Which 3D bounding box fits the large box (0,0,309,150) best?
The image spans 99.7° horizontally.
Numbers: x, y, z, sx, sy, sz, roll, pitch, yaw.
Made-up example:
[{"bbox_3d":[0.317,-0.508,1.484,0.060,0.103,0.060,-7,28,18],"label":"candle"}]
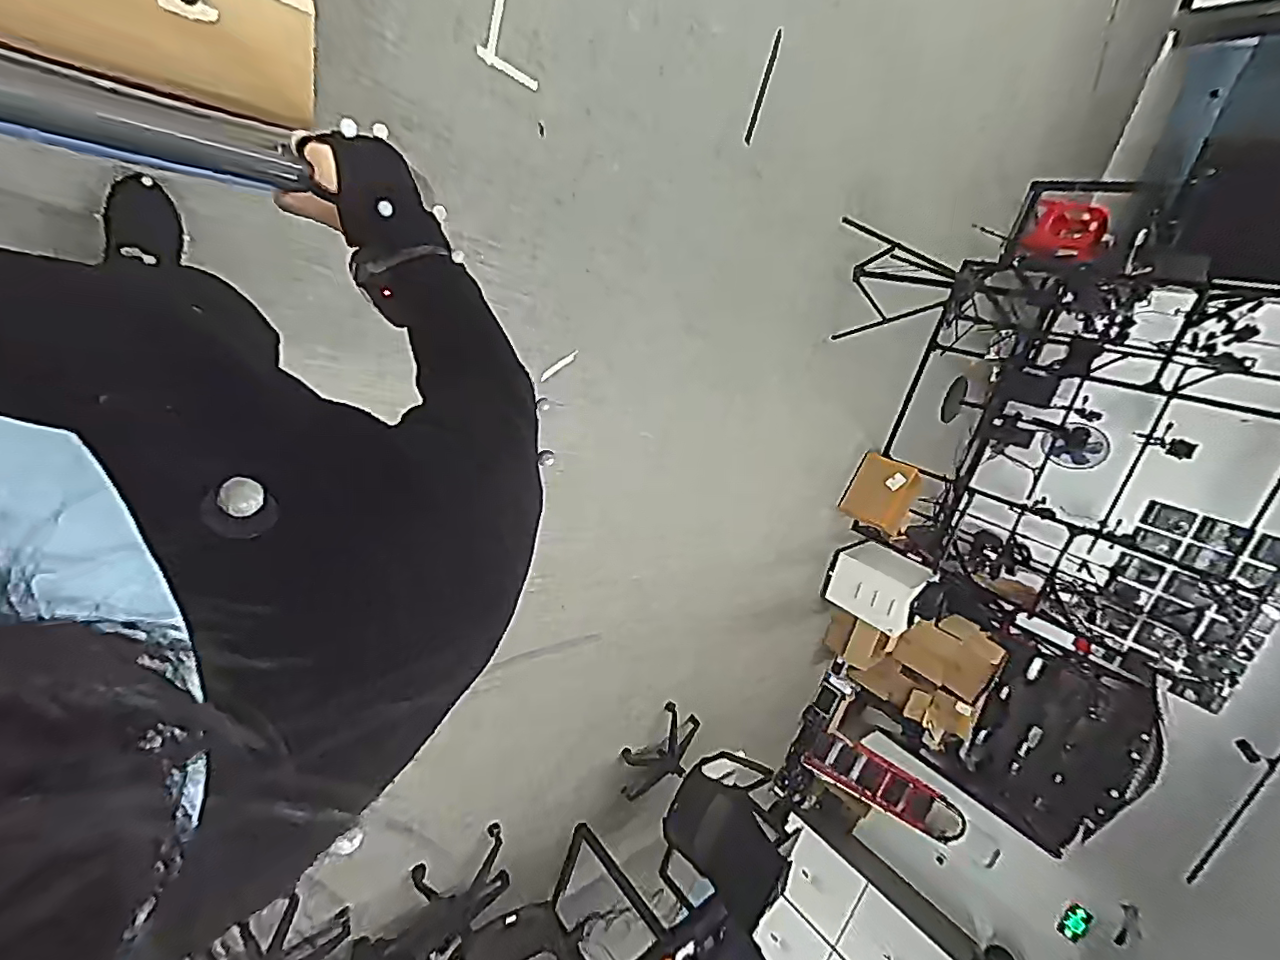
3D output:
[{"bbox_3d":[-0.698,-0.661,0.692,0.408,0.320,0.320,-8,117,-44],"label":"large box"}]
